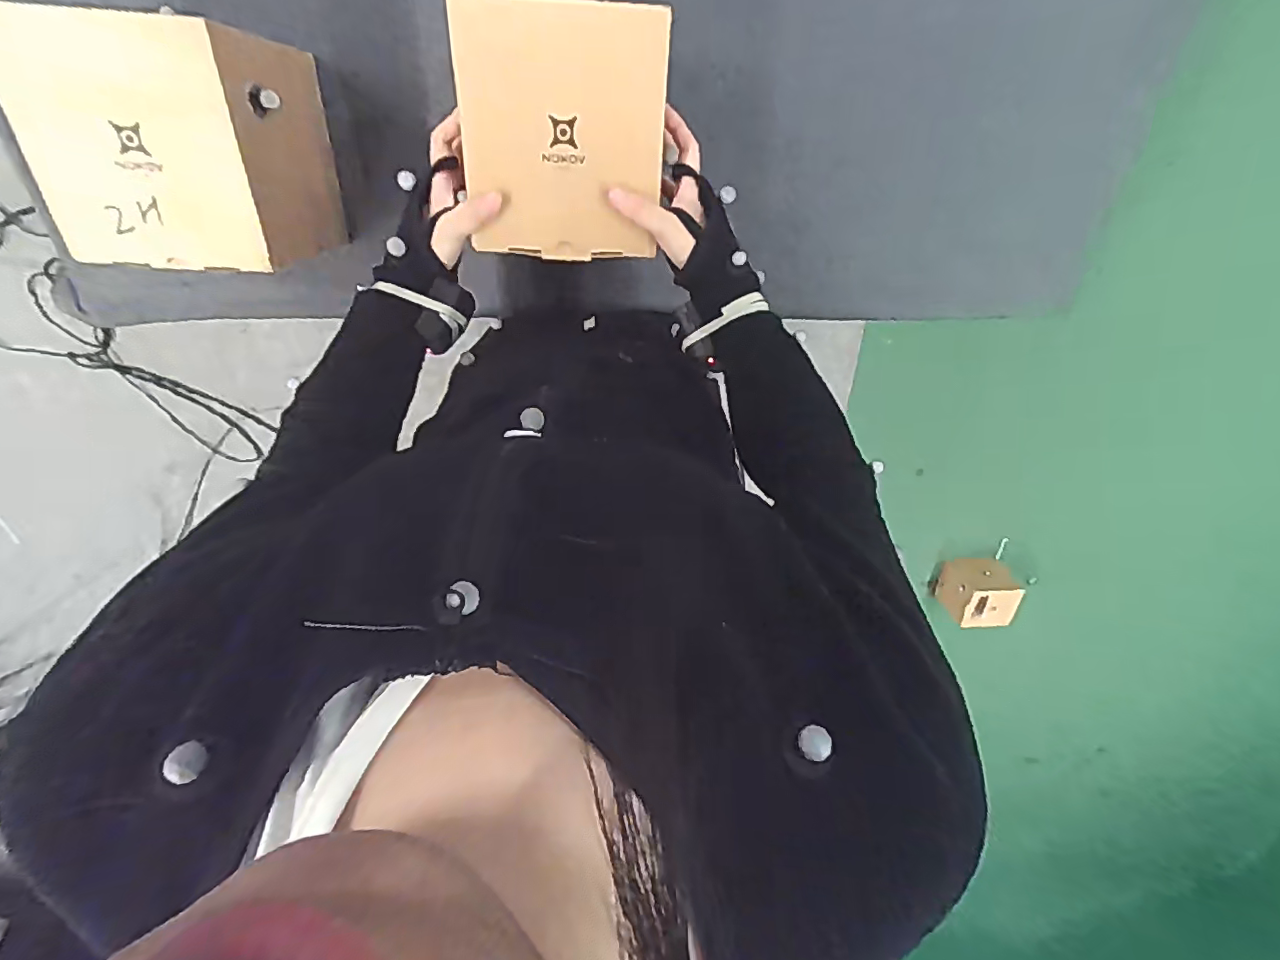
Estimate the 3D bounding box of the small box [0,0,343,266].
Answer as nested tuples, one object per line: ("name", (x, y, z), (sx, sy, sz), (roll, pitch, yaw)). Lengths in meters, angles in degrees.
("small box", (-0.391, -0.299, 0.475), (0.168, 0.176, 0.179), (2, 121, -5))
